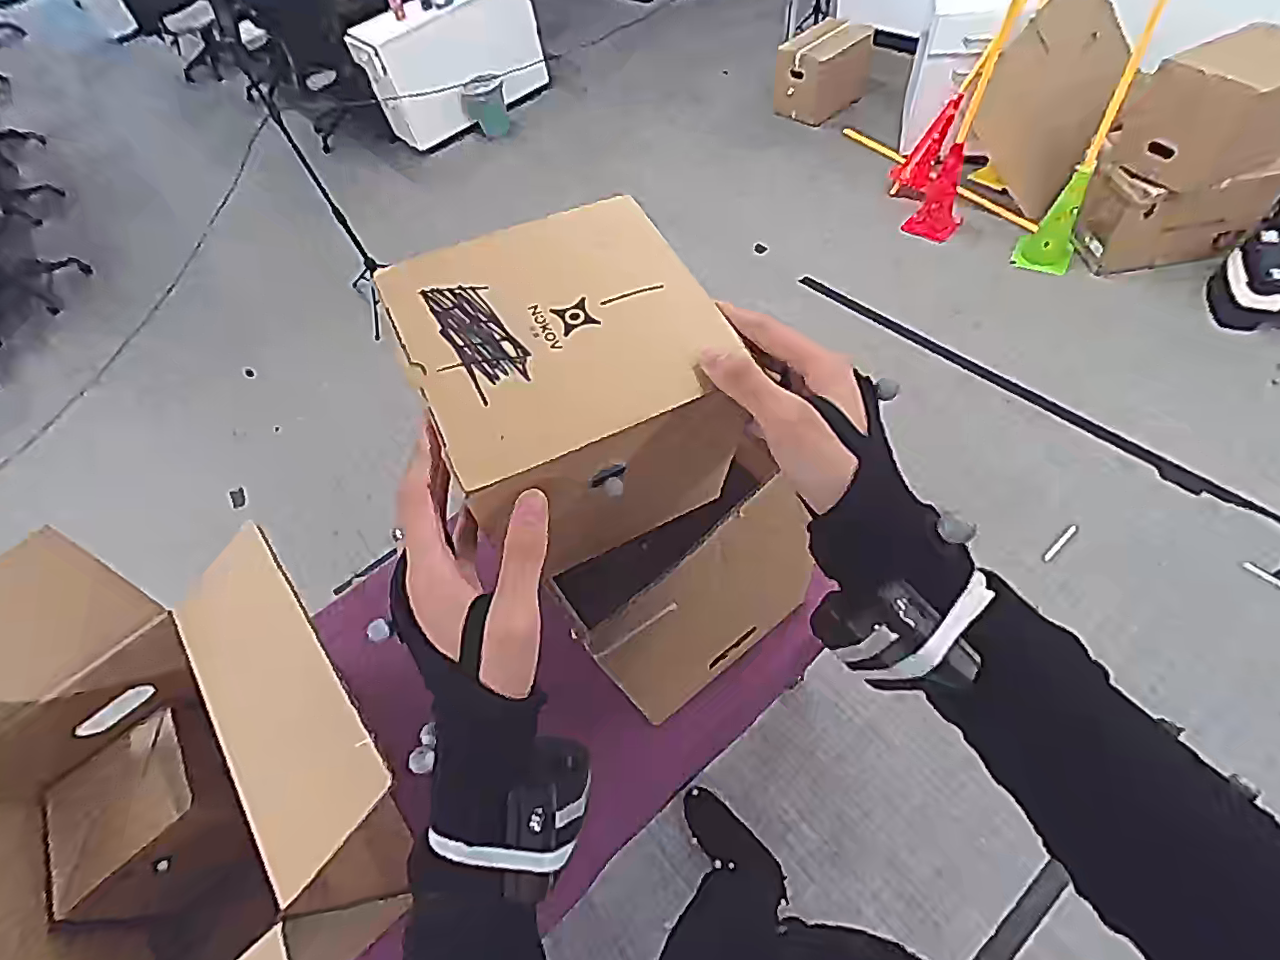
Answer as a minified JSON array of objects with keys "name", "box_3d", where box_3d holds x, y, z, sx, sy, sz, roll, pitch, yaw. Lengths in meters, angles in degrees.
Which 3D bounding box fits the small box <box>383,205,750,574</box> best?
[{"name":"small box","box_3d":[-0.049,-0.055,0.392,0.179,0.176,0.168,-25,66,-14]}]
